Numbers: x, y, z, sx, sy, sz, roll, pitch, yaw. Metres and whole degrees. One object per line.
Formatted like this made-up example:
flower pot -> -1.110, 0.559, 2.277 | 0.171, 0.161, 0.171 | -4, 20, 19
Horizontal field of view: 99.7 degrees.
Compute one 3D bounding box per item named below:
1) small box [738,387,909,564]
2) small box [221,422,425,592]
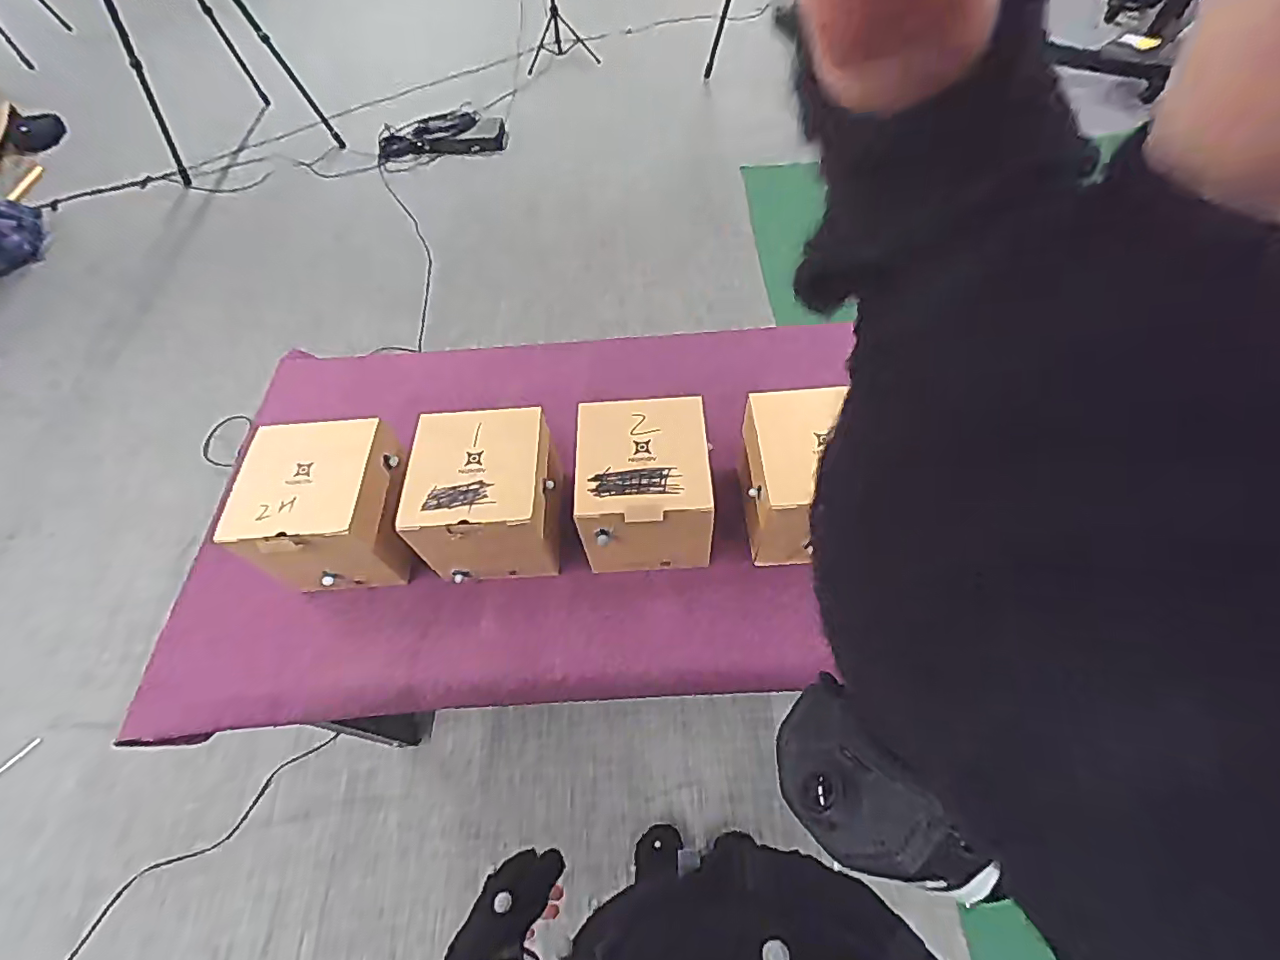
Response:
small box -> 0.231, -0.002, 0.736 | 0.168, 0.176, 0.179 | -4, 58, 2
small box -> -0.419, 0.041, 0.755 | 0.168, 0.176, 0.179 | -4, 58, 2
